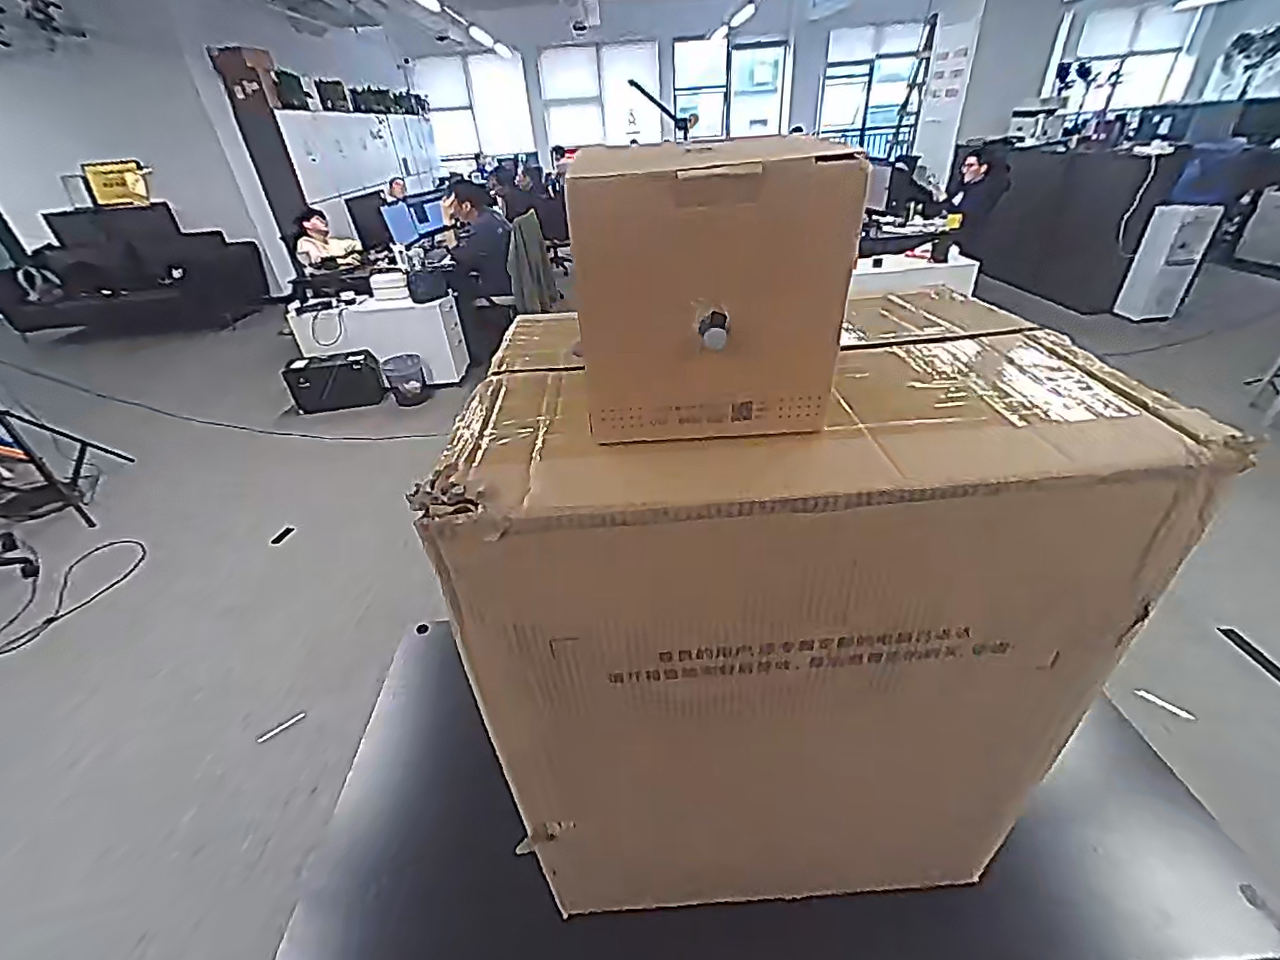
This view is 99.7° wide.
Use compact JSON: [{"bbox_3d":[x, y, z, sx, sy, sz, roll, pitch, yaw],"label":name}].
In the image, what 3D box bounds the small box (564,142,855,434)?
[{"bbox_3d":[0.042,-0.144,0.409,0.168,0.176,0.179,-3,36,0],"label":"small box"}]
